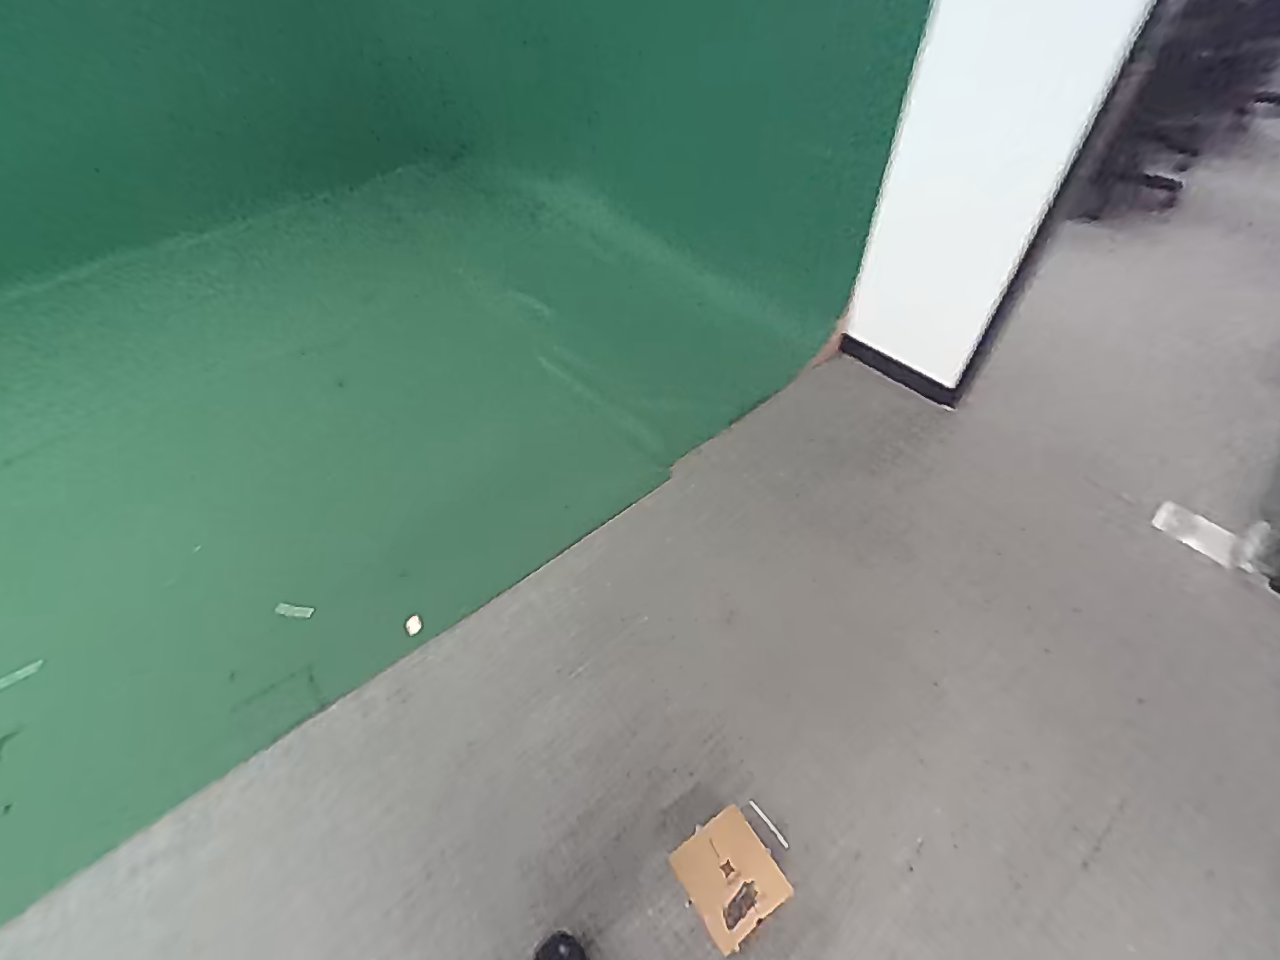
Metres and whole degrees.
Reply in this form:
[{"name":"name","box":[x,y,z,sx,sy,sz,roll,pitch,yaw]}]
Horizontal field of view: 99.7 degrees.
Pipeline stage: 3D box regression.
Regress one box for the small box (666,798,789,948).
[{"name":"small box","box":[0.168,0.774,1.073,0.168,0.176,0.179,-28,53,-18]}]
